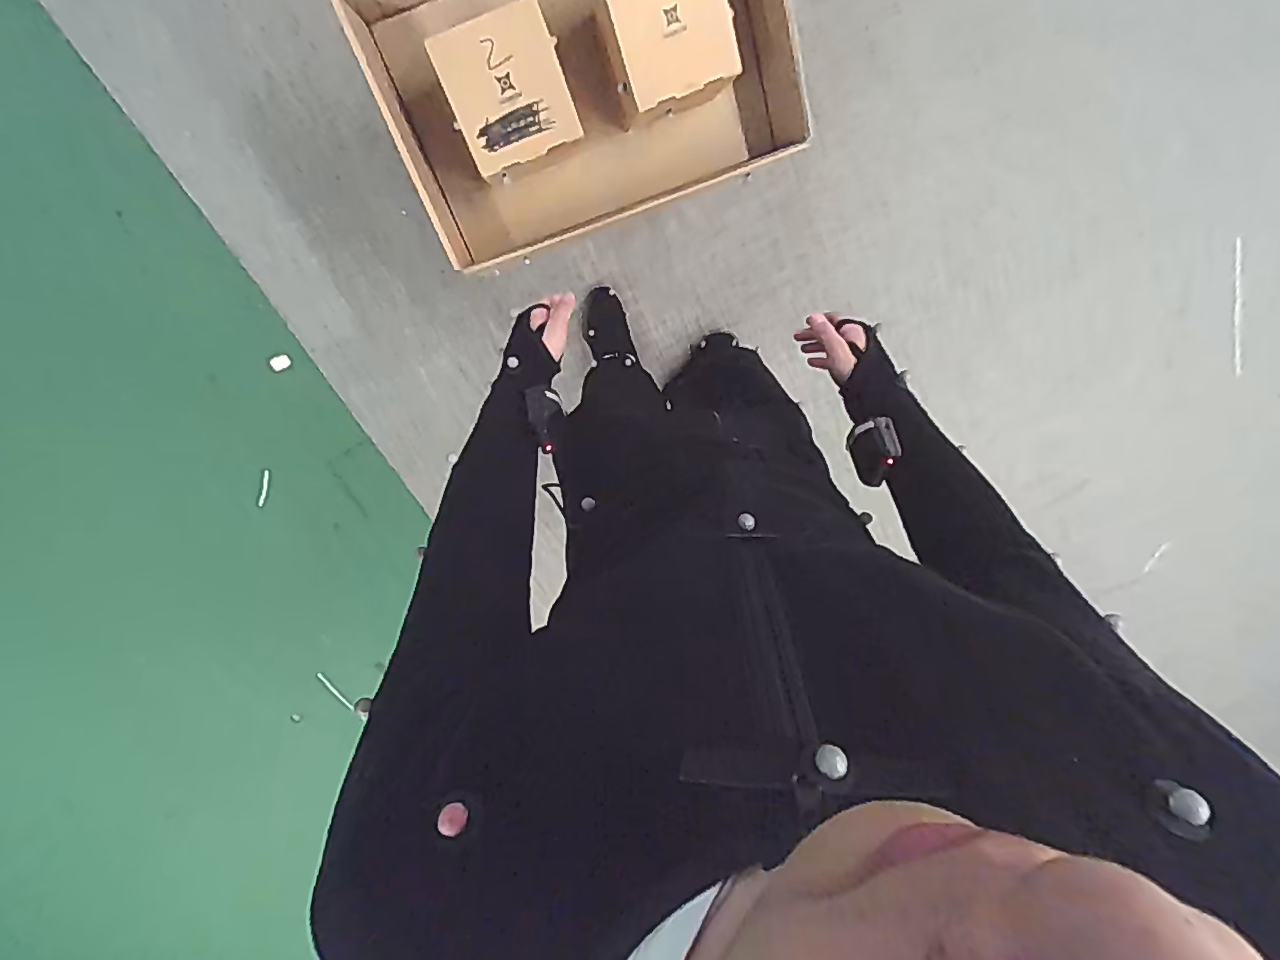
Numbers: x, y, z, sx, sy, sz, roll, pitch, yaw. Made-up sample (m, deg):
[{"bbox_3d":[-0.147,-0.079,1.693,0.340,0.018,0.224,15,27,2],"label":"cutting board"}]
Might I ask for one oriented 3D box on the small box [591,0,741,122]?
[{"bbox_3d":[0.032,-0.676,0.816,0.168,0.176,0.179,-21,118,1],"label":"small box"}]
